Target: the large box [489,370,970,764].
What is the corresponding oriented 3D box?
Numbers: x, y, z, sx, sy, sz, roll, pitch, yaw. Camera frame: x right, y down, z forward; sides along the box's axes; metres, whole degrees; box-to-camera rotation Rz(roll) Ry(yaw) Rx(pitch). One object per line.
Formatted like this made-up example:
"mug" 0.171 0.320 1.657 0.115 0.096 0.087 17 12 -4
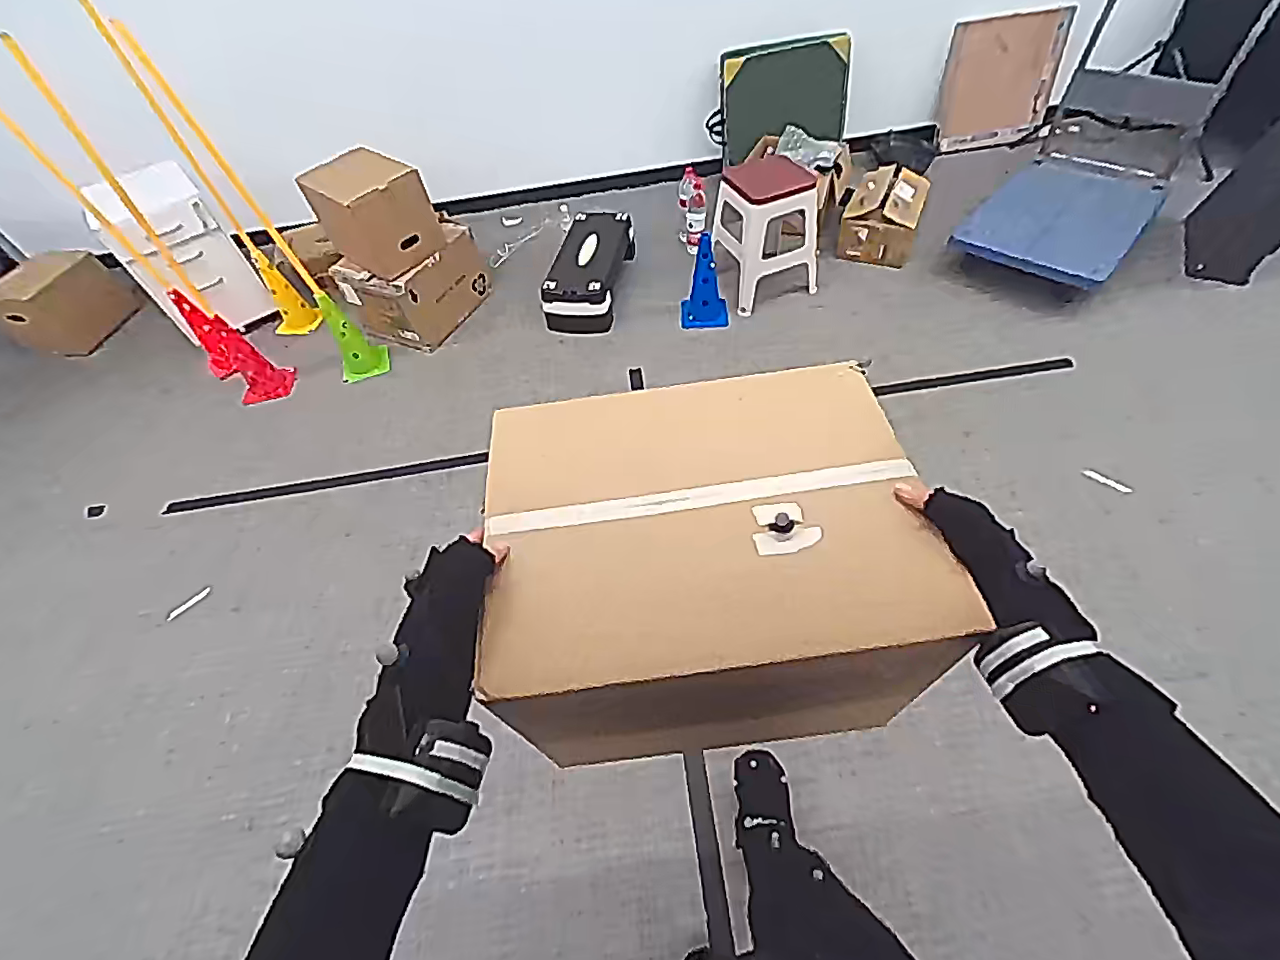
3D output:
"large box" 0.067 0.112 0.640 0.408 0.320 0.320 -8 53 0
